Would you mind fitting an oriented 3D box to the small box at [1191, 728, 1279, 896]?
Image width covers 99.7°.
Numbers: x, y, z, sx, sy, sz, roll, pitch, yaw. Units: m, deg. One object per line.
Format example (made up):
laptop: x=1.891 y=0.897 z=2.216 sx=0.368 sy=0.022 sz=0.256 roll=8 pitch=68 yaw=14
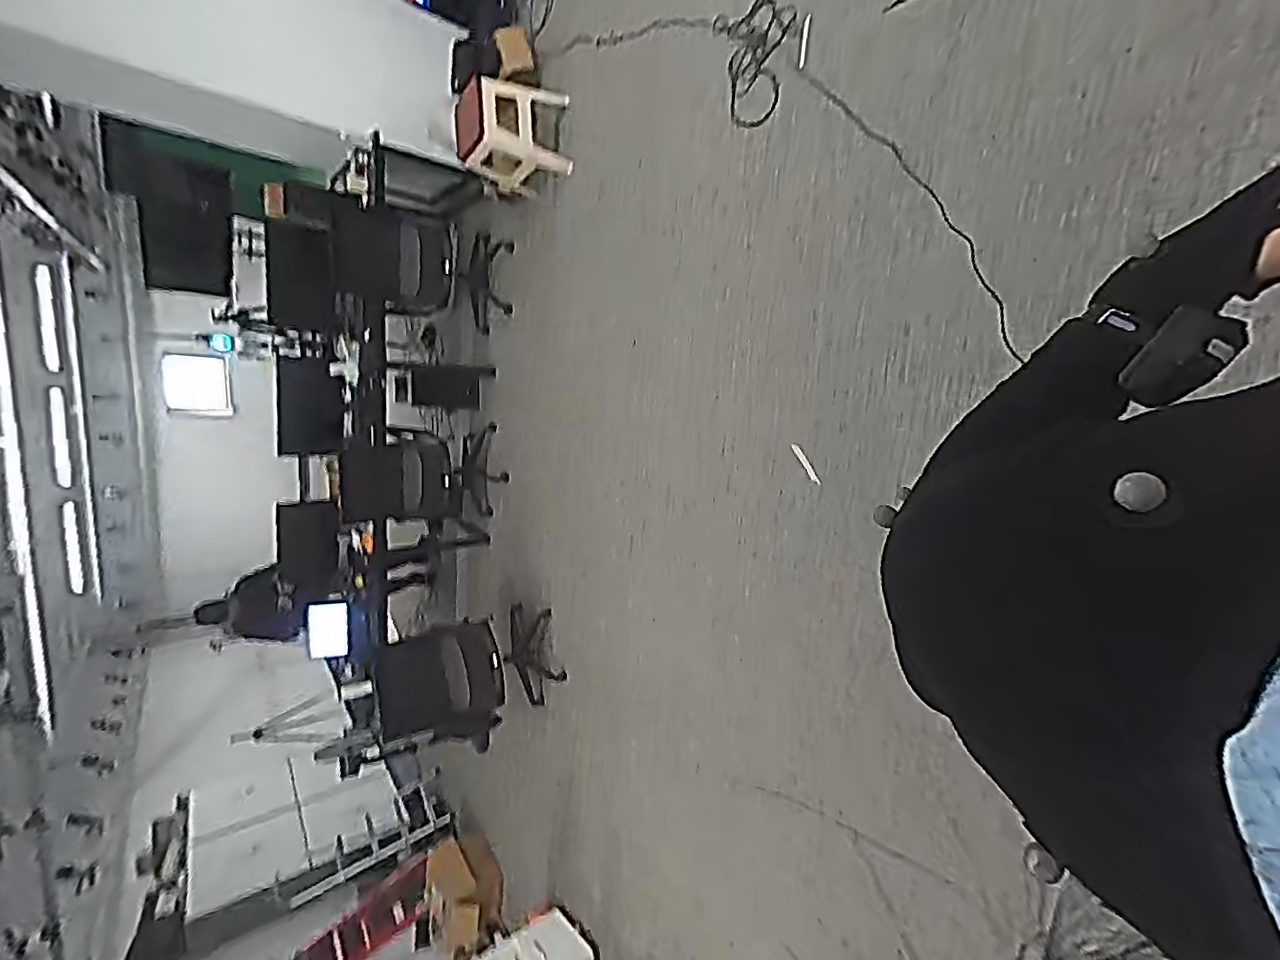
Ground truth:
small box: x=1.020 y=0.531 z=0.851 sx=0.168 sy=0.176 sz=0.179 roll=23 pitch=112 yaw=48
